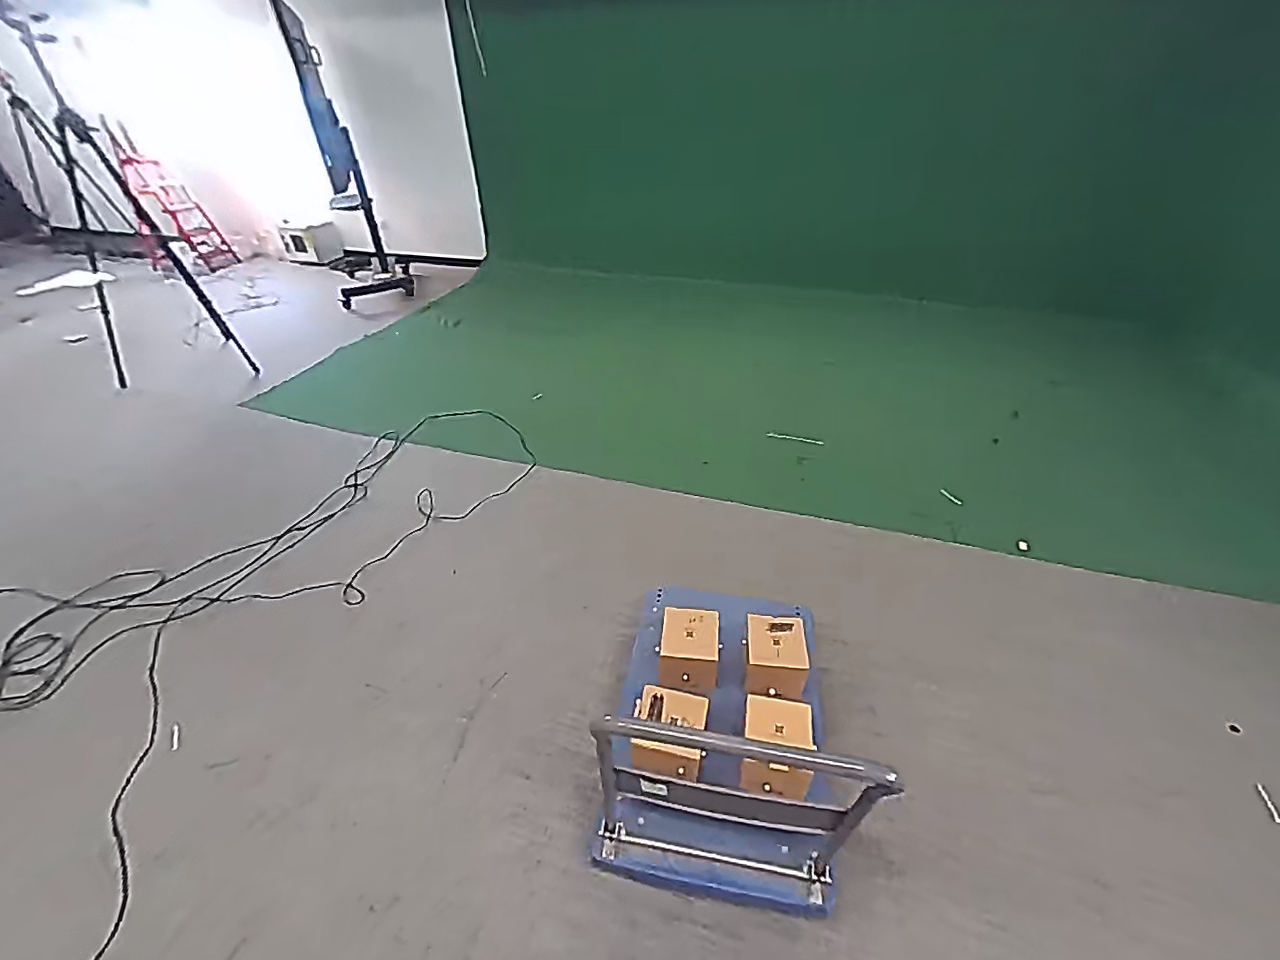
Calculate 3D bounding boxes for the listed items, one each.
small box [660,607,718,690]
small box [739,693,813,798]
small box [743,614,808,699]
[{"bbox_3d":[0.151,0.517,1.655,0.168,0.176,0.179,4,38,5],"label":"small box"},{"bbox_3d":[0.353,0.696,1.421,0.168,0.176,0.179,6,39,9],"label":"small box"},{"bbox_3d":[0.401,0.531,1.630,0.168,0.176,0.179,3,39,7],"label":"small box"}]
